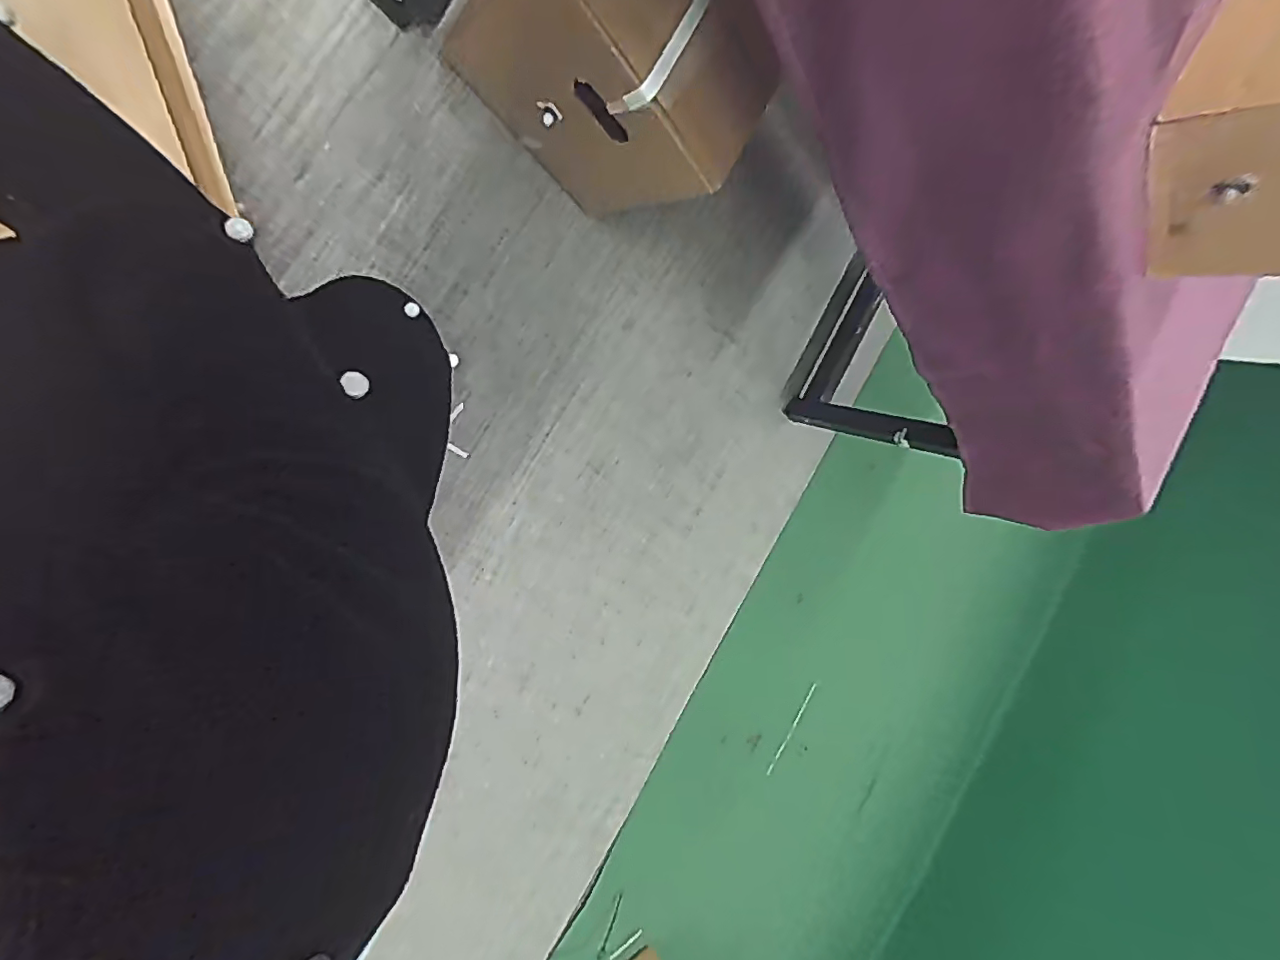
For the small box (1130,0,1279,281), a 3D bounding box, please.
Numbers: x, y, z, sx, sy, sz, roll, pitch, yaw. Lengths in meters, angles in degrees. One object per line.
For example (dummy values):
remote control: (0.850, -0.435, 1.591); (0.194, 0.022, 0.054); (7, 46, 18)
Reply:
small box: (0.548, -0.288, 0.446); (0.168, 0.176, 0.179); (42, 79, -40)
